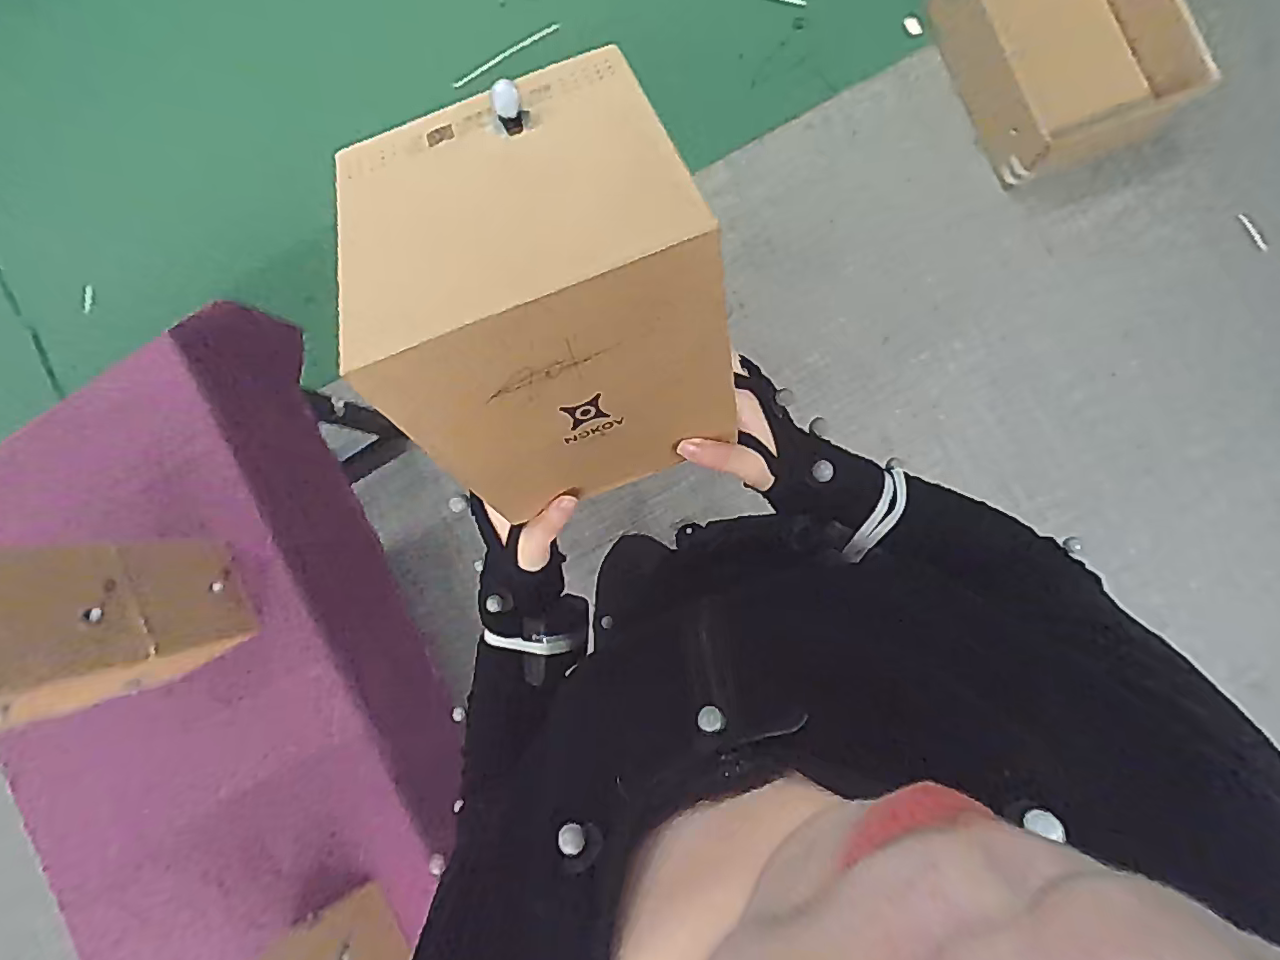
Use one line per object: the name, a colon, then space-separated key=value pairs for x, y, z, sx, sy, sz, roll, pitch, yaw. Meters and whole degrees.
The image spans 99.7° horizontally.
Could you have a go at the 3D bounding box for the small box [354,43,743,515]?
small box: x=-0.044 y=-0.106 z=0.327 sx=0.168 sy=0.179 sz=0.176 roll=-19 pitch=62 yaw=2

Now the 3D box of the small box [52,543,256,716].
small box: x=-0.719 y=0.204 z=0.786 sx=0.179 sy=0.176 sz=0.168 roll=-29 pitch=85 yaw=4

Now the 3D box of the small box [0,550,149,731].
small box: x=-0.740 y=0.193 z=0.625 sx=0.179 sy=0.176 sz=0.168 roll=-28 pitch=84 yaw=4
